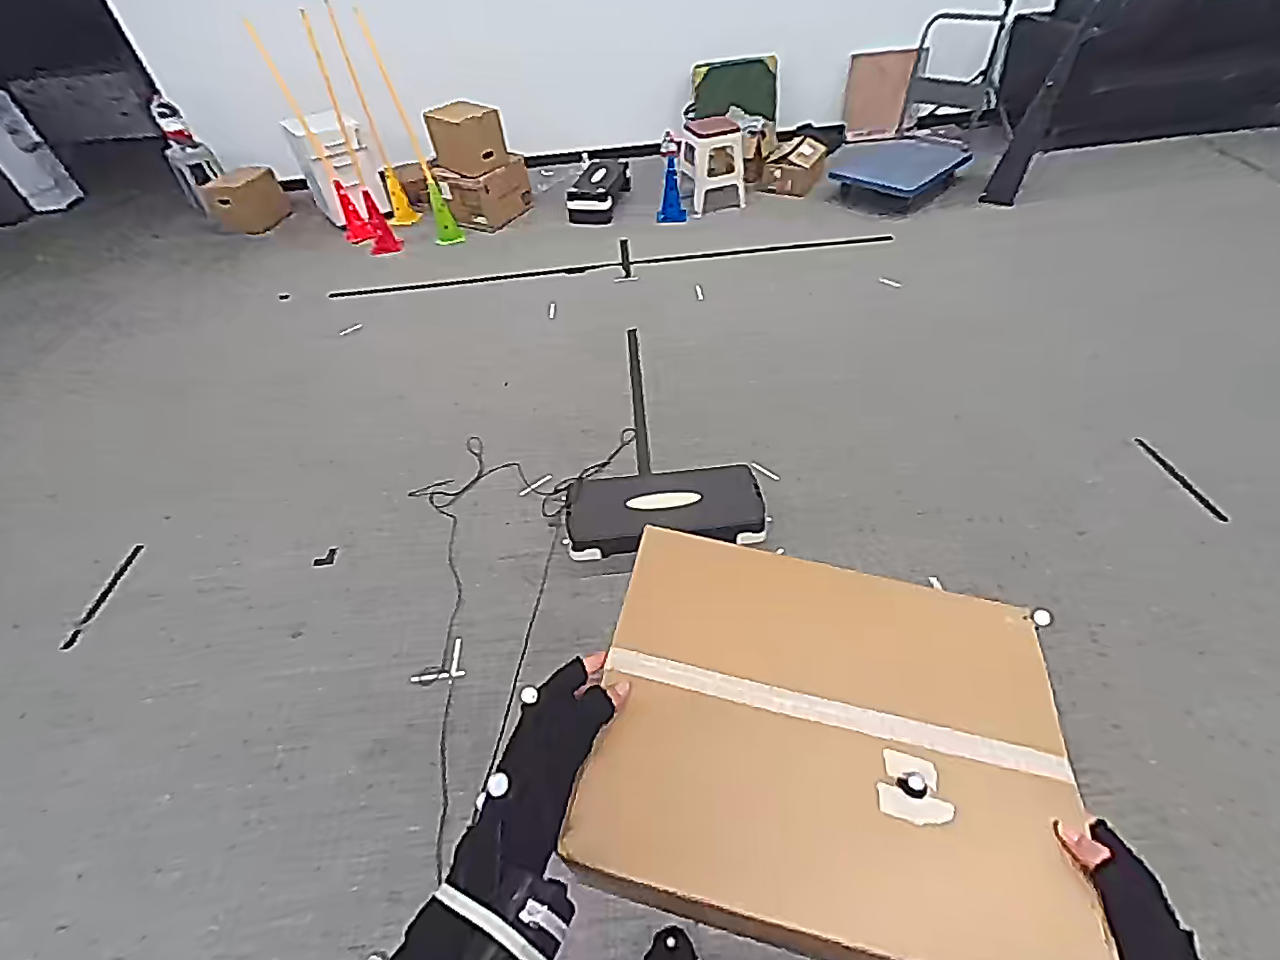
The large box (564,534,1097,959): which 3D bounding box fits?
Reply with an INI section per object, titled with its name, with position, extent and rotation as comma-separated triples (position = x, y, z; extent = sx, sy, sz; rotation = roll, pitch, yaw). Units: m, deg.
[large box]
position = 0.155, 0.303, 0.608
extent = 0.408, 0.320, 0.320
rotation = 11, 50, 7
